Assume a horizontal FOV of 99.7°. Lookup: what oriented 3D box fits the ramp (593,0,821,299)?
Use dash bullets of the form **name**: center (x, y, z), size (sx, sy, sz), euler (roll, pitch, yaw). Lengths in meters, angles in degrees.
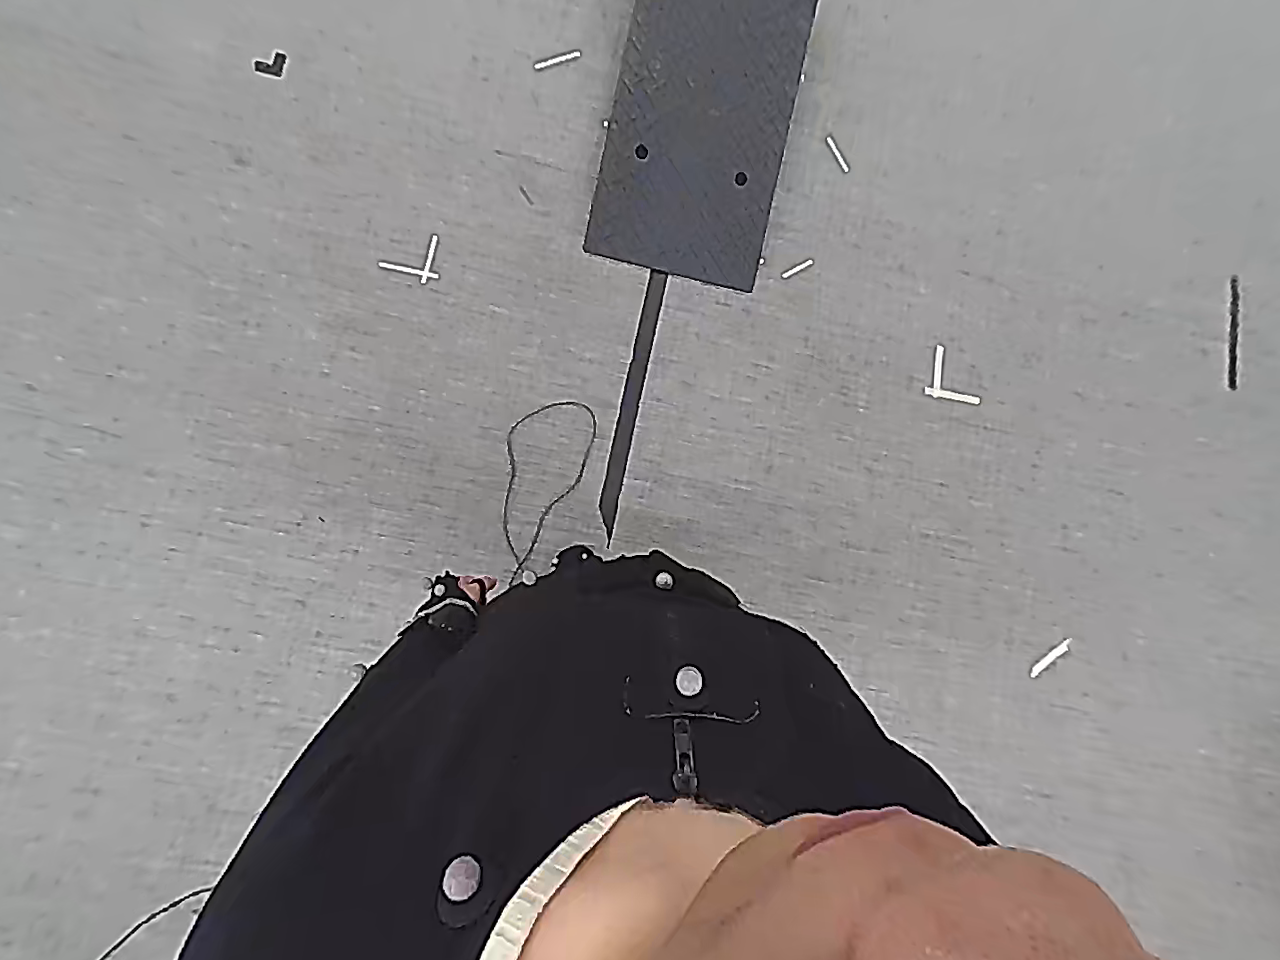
- **ramp**: center (0.202, -1.044, 1.507), size (0.509, 0.206, 0.991), euler (10, 82, -6)
